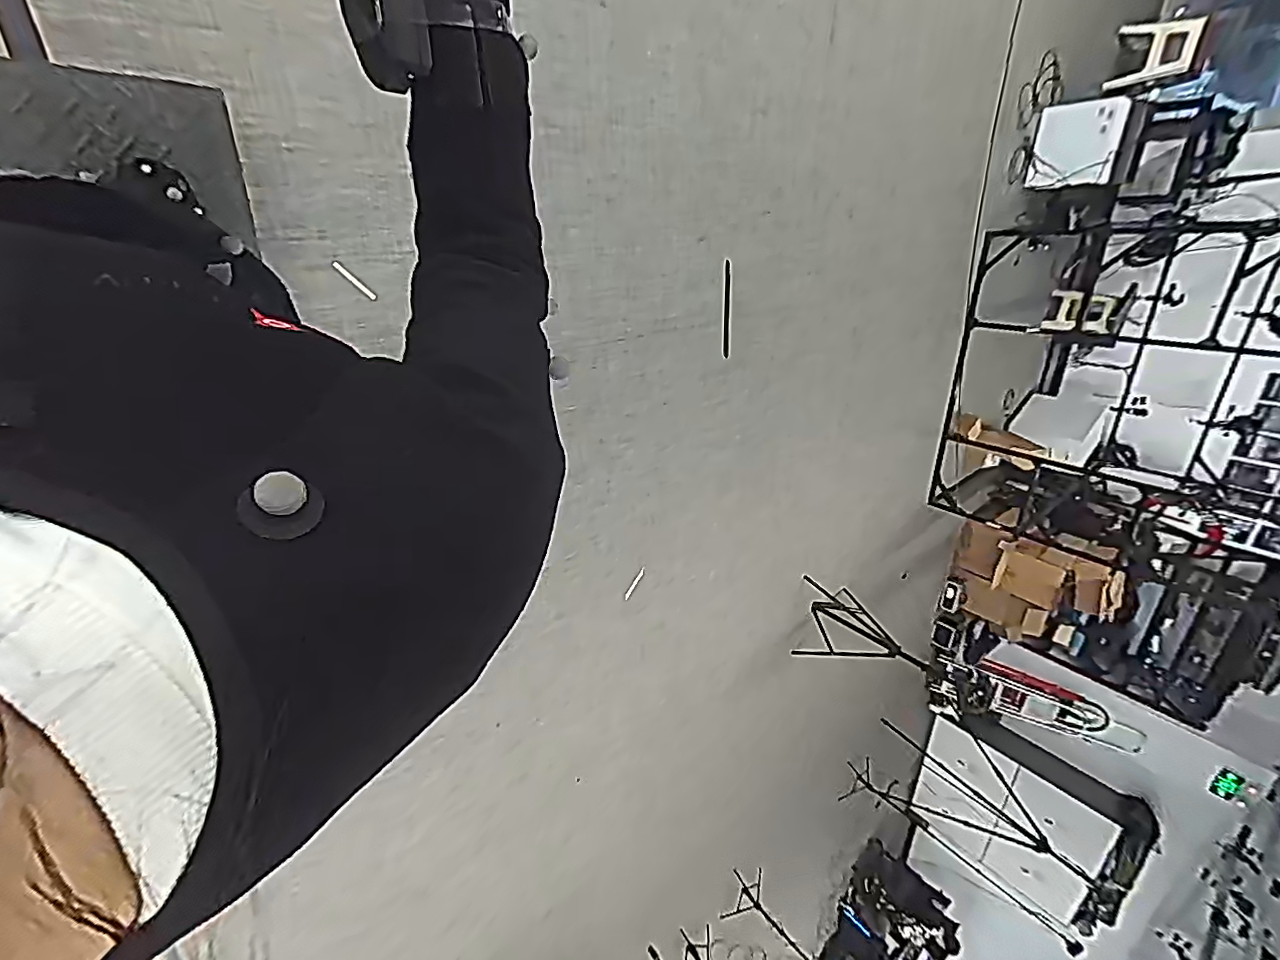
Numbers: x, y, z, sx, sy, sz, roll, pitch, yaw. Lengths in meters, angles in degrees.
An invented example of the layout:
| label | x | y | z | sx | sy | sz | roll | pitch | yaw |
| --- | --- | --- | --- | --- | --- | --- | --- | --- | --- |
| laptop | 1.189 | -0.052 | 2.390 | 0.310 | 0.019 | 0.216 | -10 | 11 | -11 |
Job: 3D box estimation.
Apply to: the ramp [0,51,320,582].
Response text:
| label | x | y | z | sx | sy | sz | roll | pitch | yaw |
| --- | --- | --- | --- | --- | --- | --- | --- | --- | --- |
| ramp | -1.015 | -0.247 | 1.105 | 0.509 | 0.206 | 0.991 | -20 | 121 | -35 |
